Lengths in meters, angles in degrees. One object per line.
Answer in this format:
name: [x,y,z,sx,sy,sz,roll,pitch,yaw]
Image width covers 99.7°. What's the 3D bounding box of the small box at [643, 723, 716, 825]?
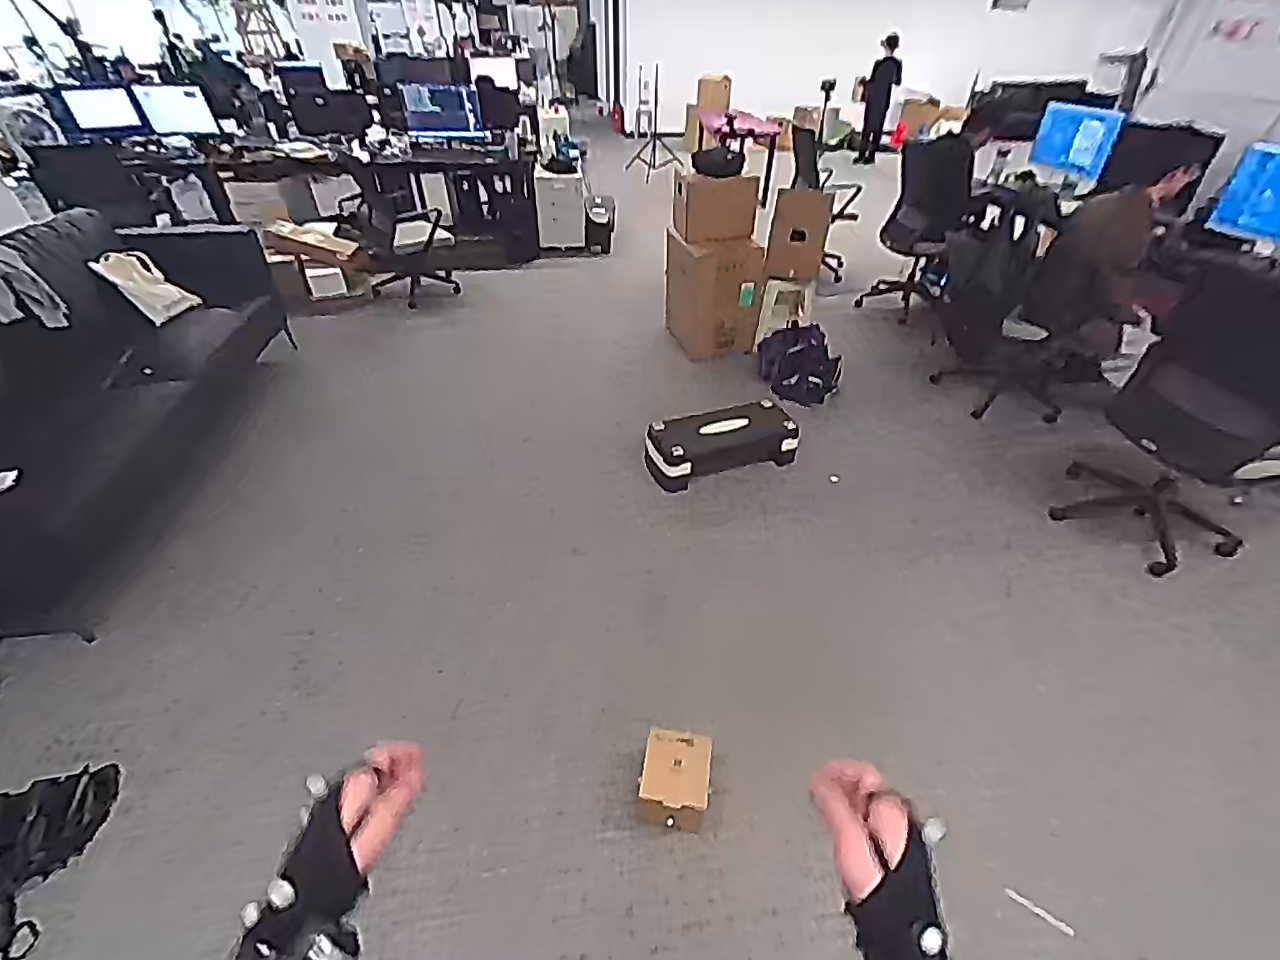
small box: [0.104,0.760,1.394,0.168,0.176,0.179,6,42,8]
